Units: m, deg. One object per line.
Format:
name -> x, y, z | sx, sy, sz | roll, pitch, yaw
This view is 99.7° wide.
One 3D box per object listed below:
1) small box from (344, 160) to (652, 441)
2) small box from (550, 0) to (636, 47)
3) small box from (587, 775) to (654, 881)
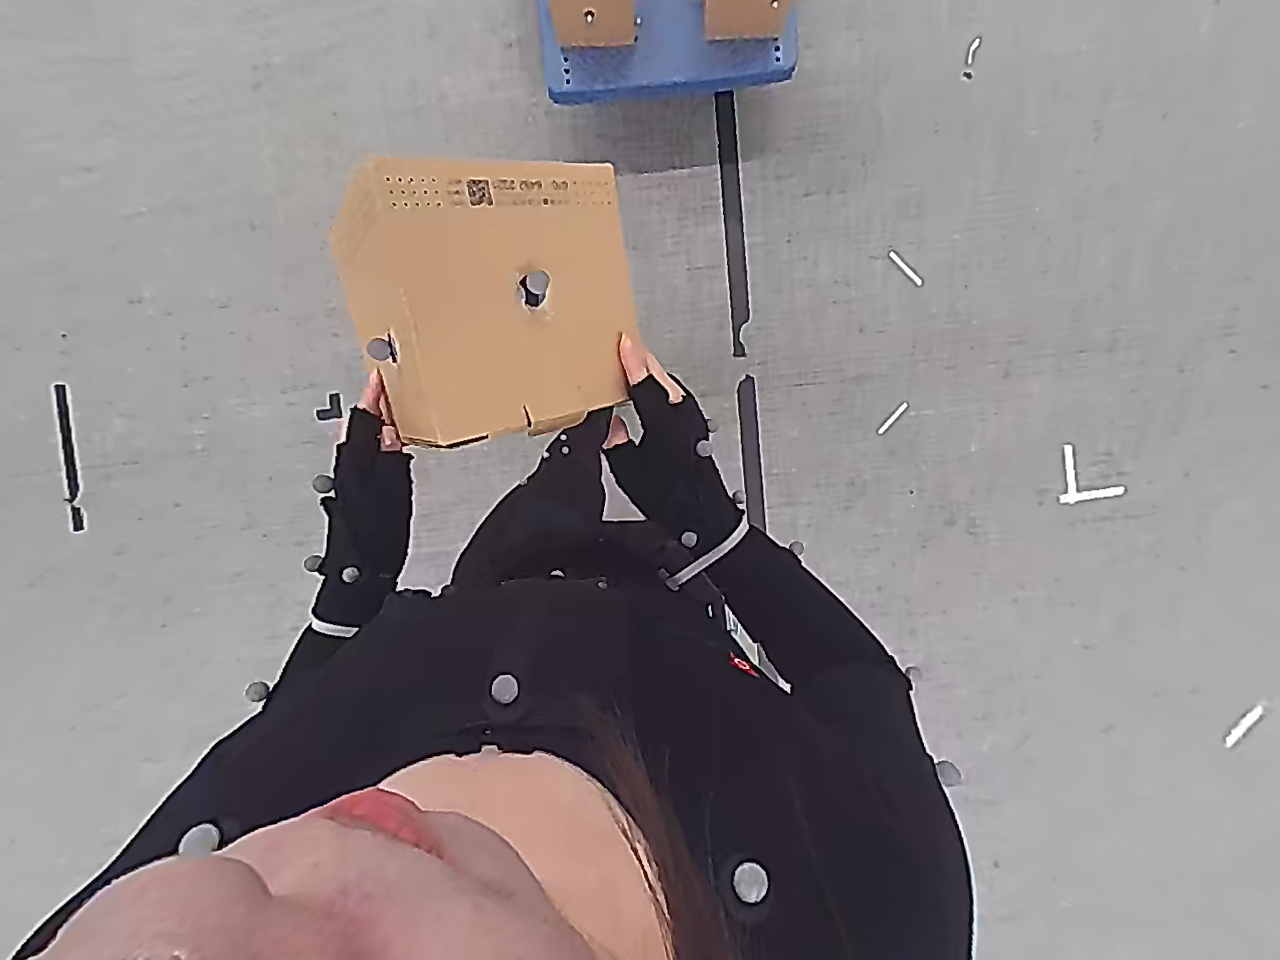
small box -> -0.117, -0.134, 0.431 | 0.168, 0.179, 0.176 | -19, 106, -32
small box -> -0.096, -1.051, 1.132 | 0.179, 0.176, 0.168 | -1, 93, 1
small box -> -0.048, 0.932, 1.458 | 0.168, 0.176, 0.179 | -4, 93, 0
